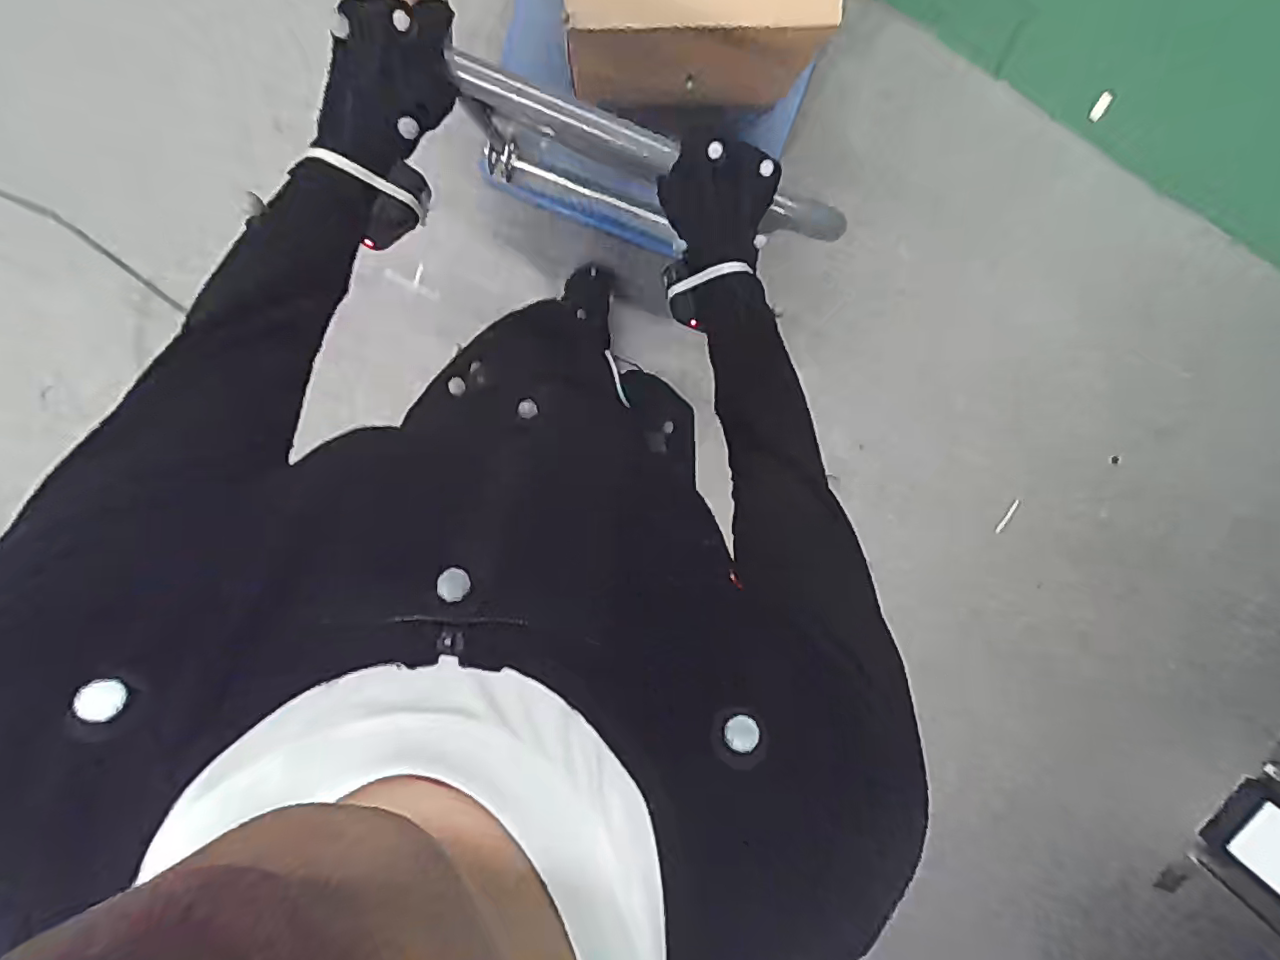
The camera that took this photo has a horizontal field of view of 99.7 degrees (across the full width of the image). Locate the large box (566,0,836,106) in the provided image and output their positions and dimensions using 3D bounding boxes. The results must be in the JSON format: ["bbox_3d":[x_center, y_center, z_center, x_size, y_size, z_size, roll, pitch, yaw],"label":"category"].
[{"bbox_3d":[0.080,-0.856,0.898,0.408,0.320,0.320,-3,106,-2],"label":"large box"}]
